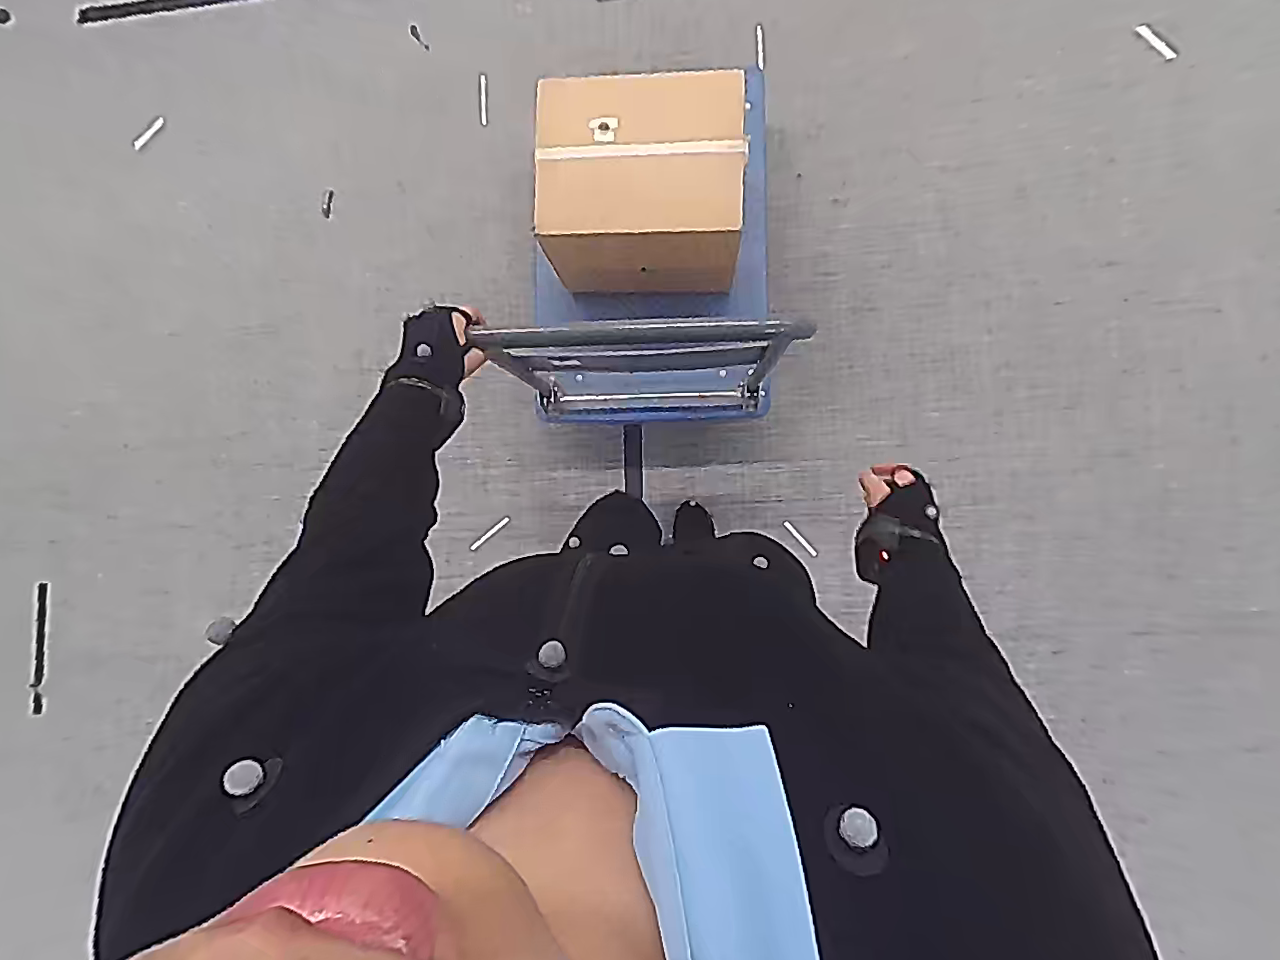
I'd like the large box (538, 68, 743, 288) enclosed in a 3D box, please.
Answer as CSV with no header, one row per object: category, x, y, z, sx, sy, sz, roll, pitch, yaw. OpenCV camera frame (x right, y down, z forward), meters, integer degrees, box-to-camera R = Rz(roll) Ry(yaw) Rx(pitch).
large box,0.014,-0.634,1.197,0.408,0.320,0.320,1,87,6
